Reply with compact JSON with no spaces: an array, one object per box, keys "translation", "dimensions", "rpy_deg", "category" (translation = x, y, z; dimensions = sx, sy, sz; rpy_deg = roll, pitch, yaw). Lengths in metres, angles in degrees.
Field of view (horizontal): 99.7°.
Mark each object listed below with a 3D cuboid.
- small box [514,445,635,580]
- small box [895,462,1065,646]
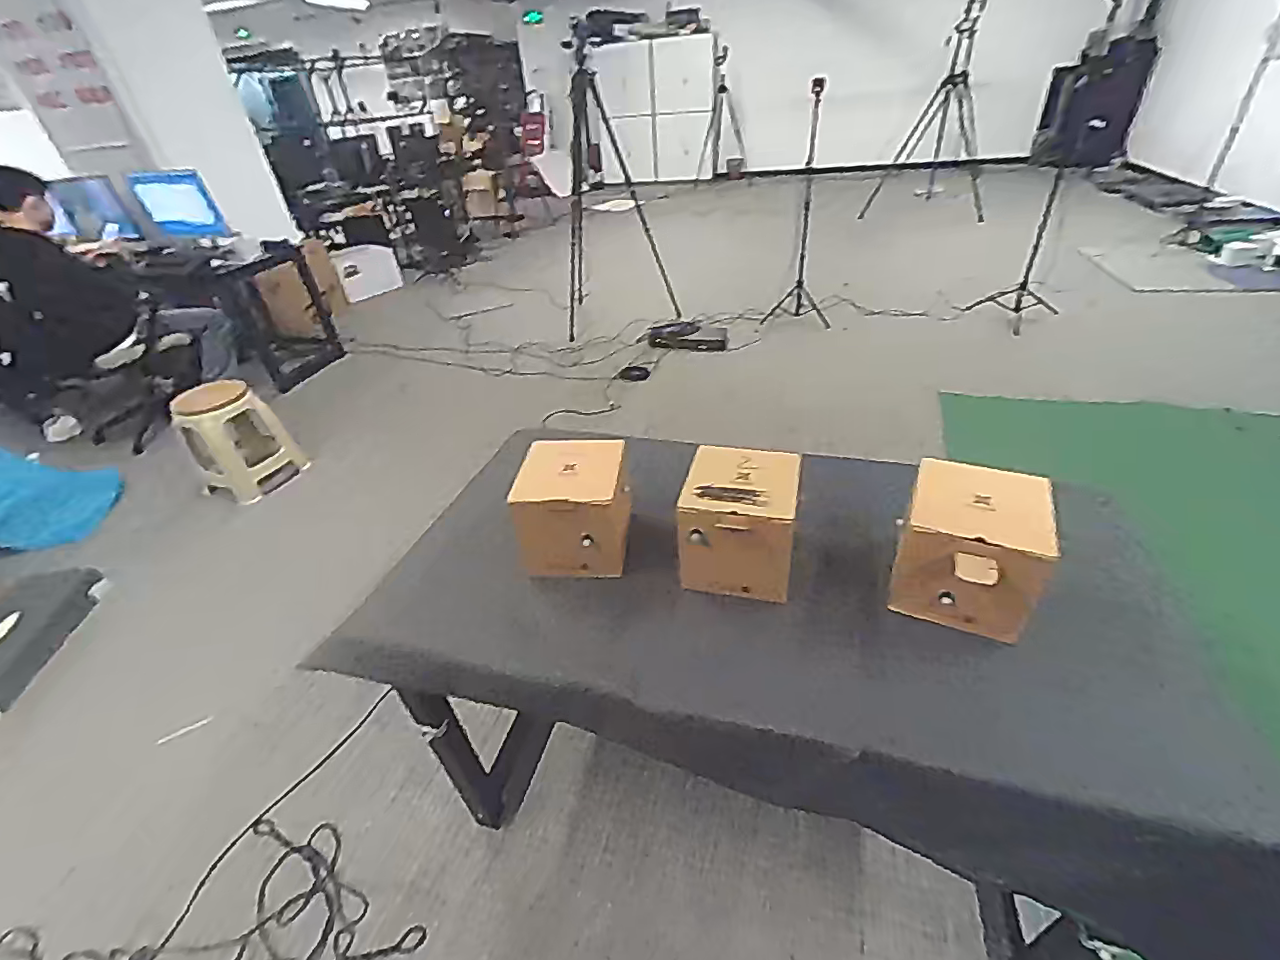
[{"translation":[-0.101,0.056,0.933],"dimensions":[0.168,0.176,0.179],"rpy_deg":[0,35,6],"category":"small box"},{"translation":[0.482,0.102,0.784],"dimensions":[0.168,0.176,0.179],"rpy_deg":[13,40,25],"category":"small box"}]
